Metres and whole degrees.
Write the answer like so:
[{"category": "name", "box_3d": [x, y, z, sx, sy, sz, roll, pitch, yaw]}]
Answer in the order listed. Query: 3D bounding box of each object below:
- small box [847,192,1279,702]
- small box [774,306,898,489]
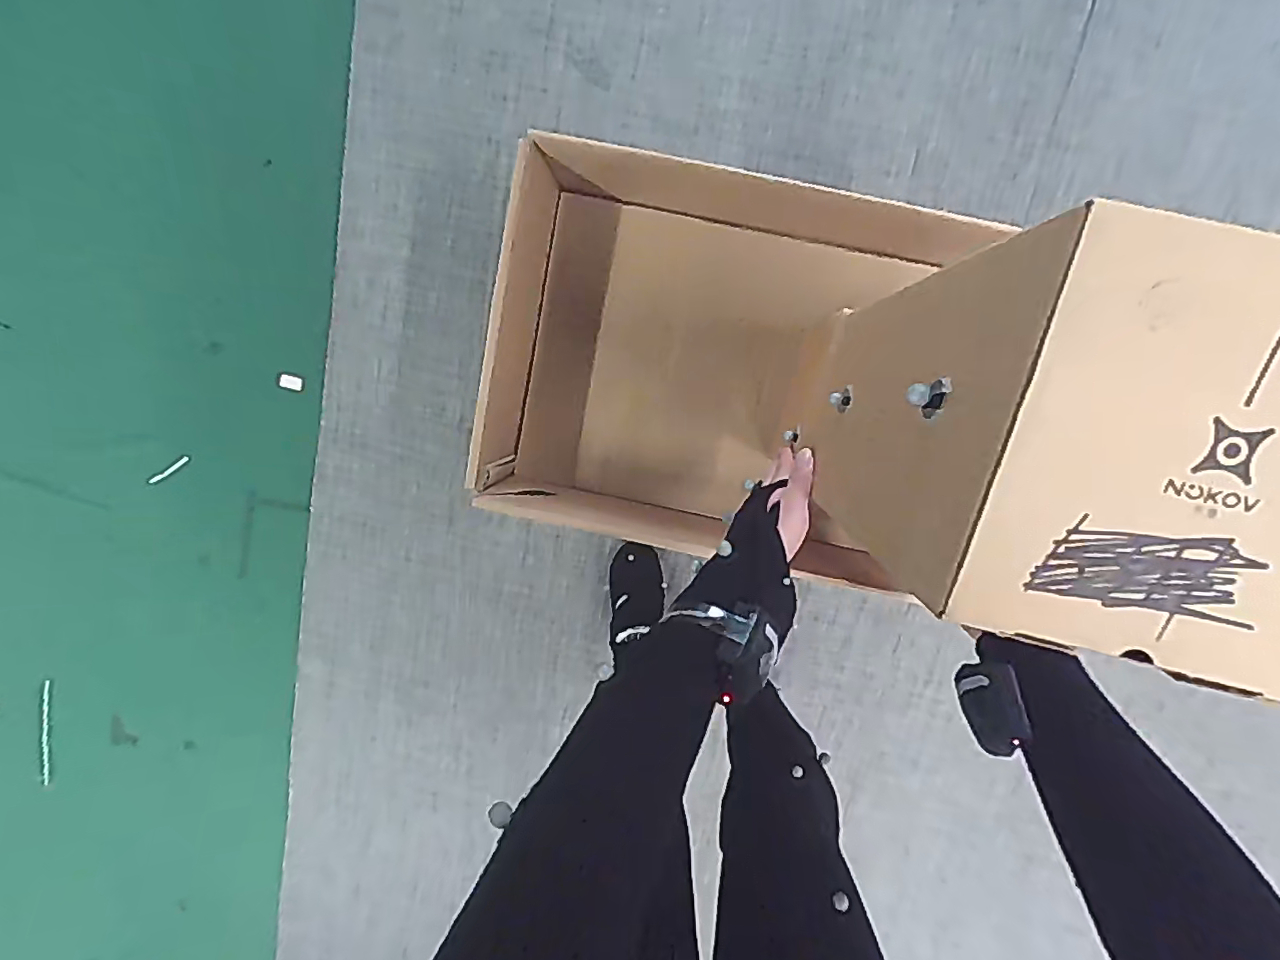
[{"category": "small box", "box_3d": [0.230, -0.020, 0.293, 0.168, 0.176, 0.179, 14, 100, 3]}, {"category": "small box", "box_3d": [0.261, -0.079, 0.613, 0.168, 0.176, 0.179, 14, 100, 4]}]
